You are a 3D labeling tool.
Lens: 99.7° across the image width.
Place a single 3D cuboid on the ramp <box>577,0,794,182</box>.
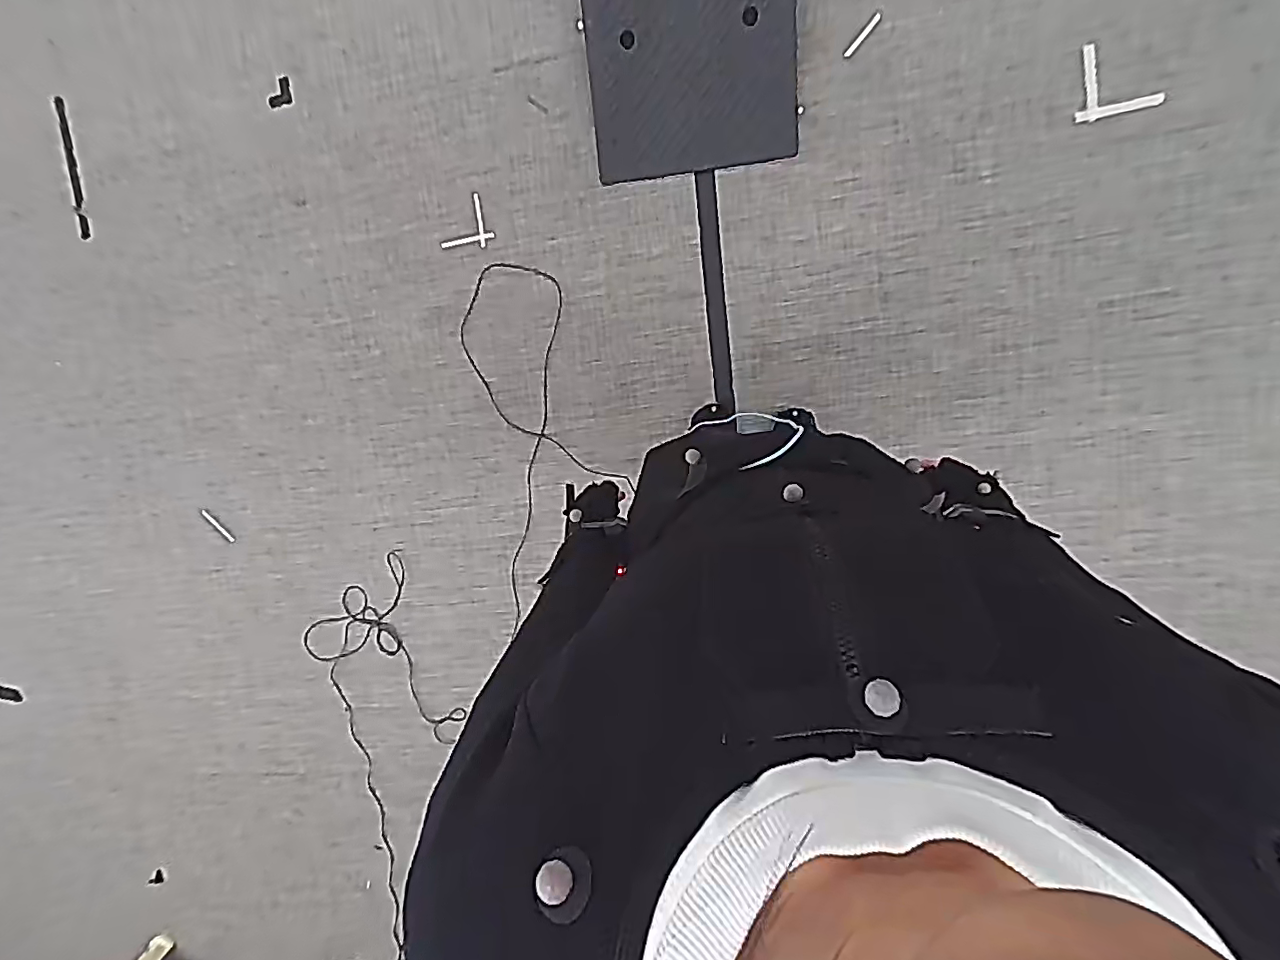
[{"bbox_3d":[0.083,-1.249,1.196,0.509,0.206,0.991,-5,98,8],"label":"ramp"}]
